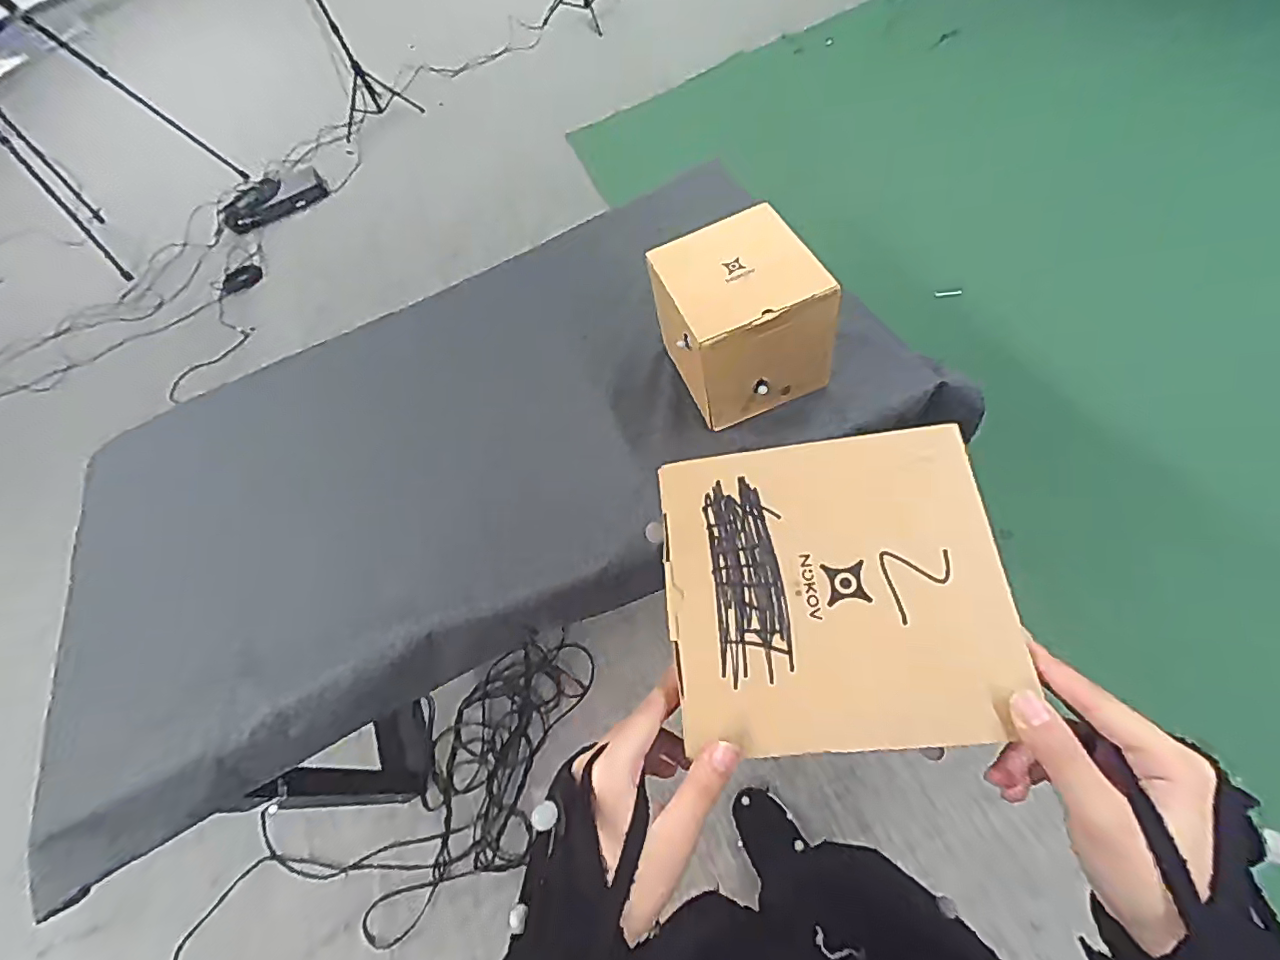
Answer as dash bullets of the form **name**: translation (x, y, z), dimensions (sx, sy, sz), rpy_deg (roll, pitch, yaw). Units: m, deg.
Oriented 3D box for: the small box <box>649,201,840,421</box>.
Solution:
- **small box**: translation (0.126, -0.207, 0.688), dimensions (0.168, 0.176, 0.179), rpy_deg (-23, 59, -1)
